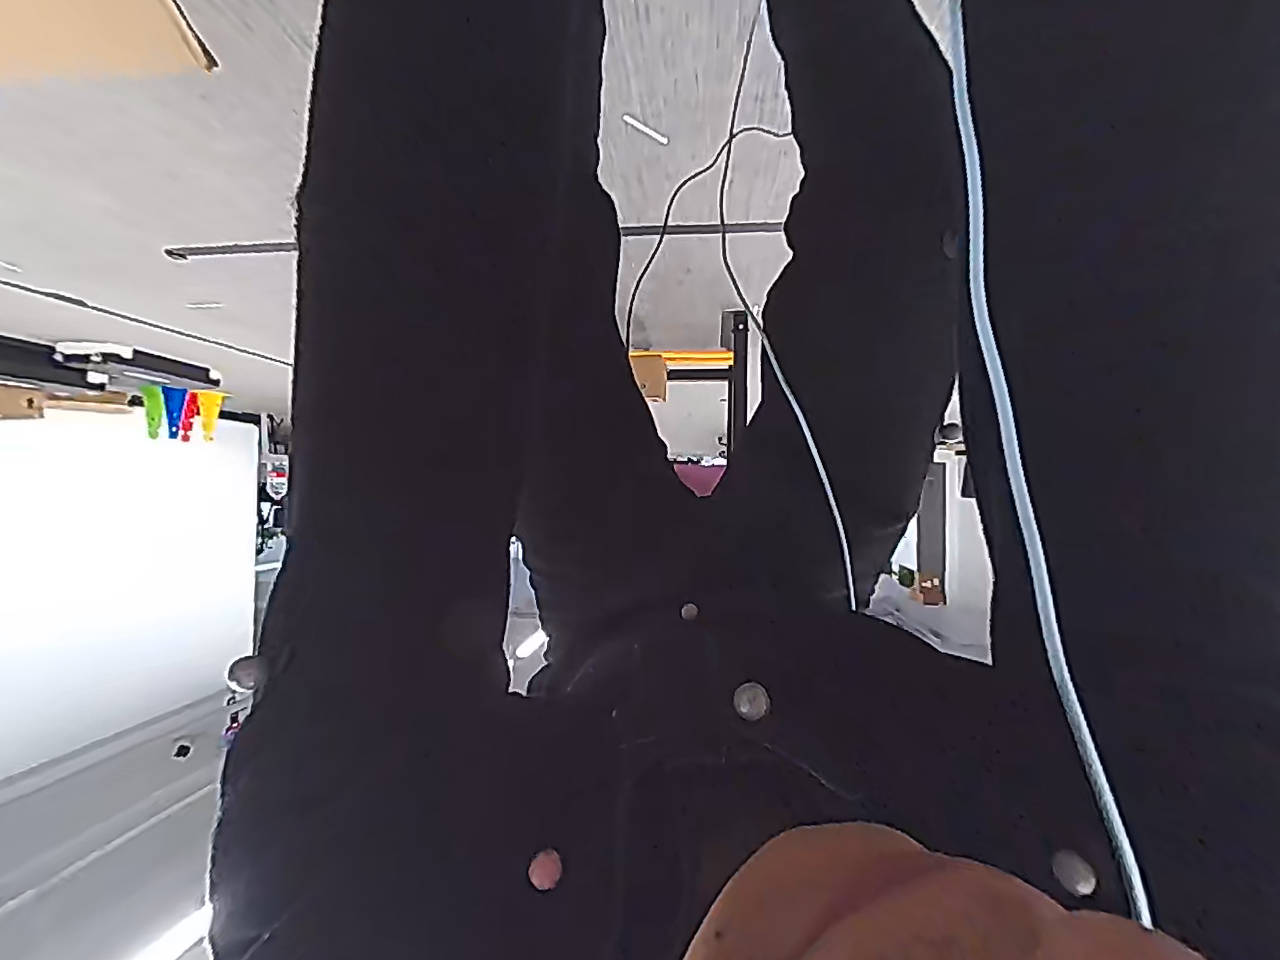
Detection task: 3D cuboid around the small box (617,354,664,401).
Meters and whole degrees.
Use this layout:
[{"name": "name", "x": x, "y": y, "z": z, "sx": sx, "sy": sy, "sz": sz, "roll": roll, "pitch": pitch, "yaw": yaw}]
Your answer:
[{"name": "small box", "x": 0.005, "y": -0.422, "z": 2.240, "sx": 0.179, "sy": 0.176, "sz": 0.168, "roll": 3, "pitch": 180, "yaw": 9}]
